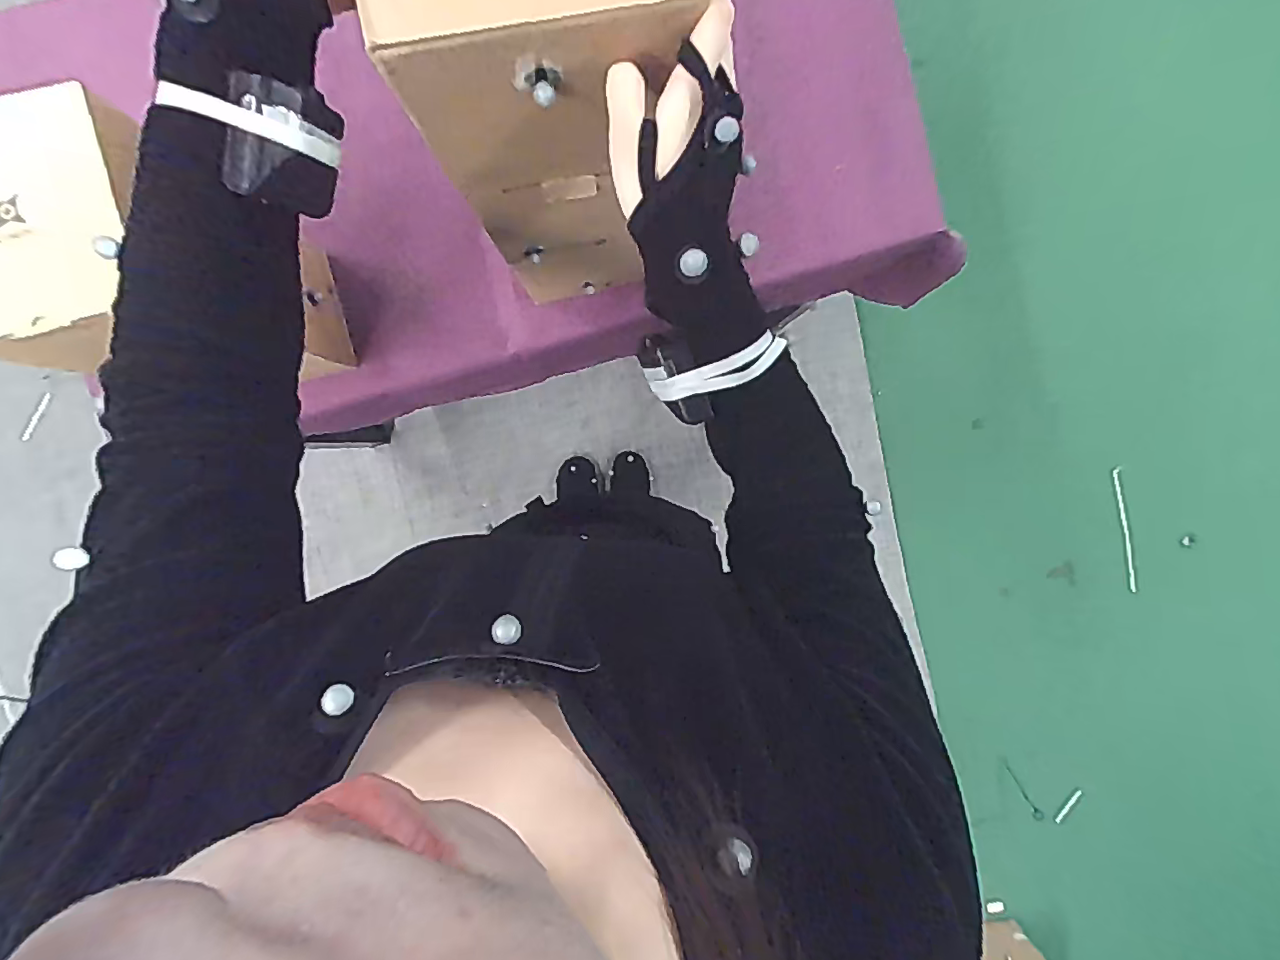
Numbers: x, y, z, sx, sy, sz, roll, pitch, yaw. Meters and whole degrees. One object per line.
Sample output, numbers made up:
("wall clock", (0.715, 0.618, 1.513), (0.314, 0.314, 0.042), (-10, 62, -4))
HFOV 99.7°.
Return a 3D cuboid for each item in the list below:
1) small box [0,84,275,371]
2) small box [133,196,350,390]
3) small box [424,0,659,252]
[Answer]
("small box", (-0.487, -0.211, 0.502), (0.168, 0.176, 0.179), (-13, 95, -1))
("small box", (-0.487, -0.214, 0.665), (0.179, 0.176, 0.168), (-14, 94, -1))
("small box", (-0.078, -0.330, 0.502), (0.168, 0.176, 0.179), (-11, 93, -1))
